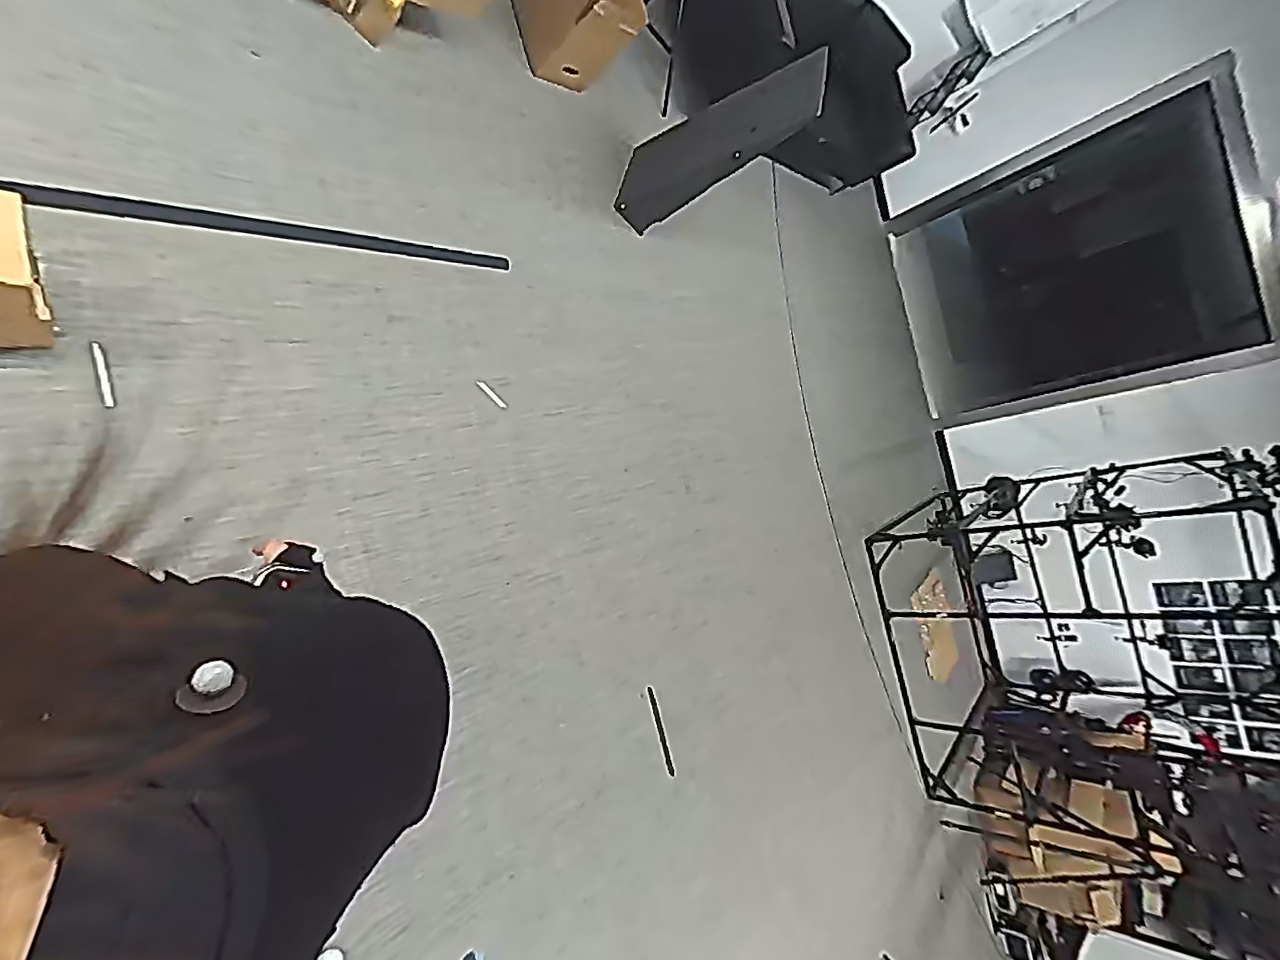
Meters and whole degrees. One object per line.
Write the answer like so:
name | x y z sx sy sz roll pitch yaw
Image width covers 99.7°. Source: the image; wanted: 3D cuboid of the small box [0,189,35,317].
small box | -1.213 -0.413 0.963 0.168 0.176 0.179 -7 87 -47

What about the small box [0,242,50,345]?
small box | -1.322 -0.376 1.079 0.179 0.176 0.168 -15 91 -46
